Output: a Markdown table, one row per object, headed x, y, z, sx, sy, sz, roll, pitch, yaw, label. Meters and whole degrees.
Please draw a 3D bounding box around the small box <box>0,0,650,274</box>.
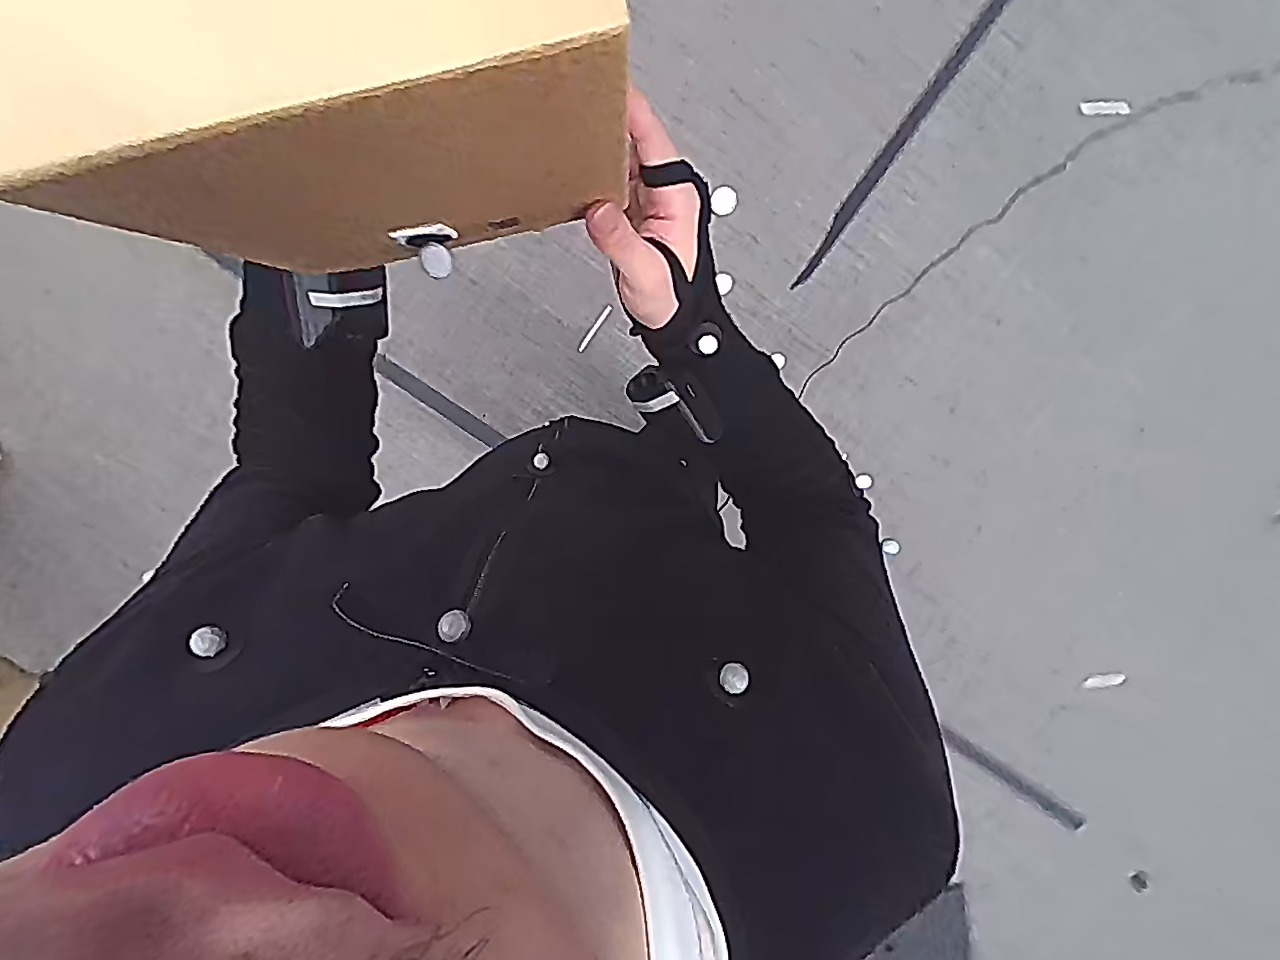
| x | y | z | sx | sy | sz | roll | pitch | yaw | label |
| --- | --- | --- | --- | --- | --- | --- | --- | --- | --- |
| -0.096 | -0.192 | 0.198 | 0.168 | 0.176 | 0.179 | -12 | 104 | 2 | small box |
